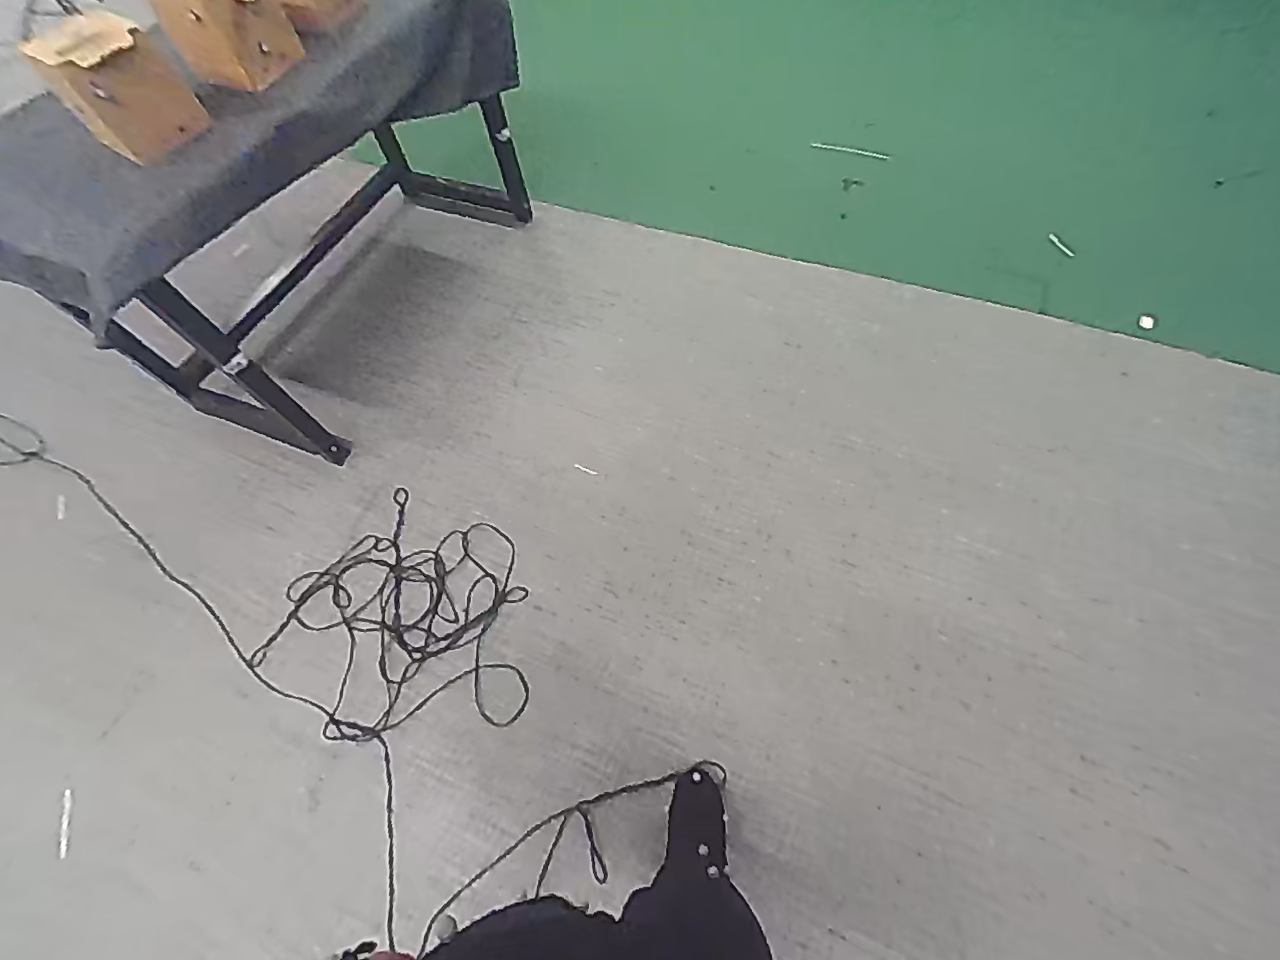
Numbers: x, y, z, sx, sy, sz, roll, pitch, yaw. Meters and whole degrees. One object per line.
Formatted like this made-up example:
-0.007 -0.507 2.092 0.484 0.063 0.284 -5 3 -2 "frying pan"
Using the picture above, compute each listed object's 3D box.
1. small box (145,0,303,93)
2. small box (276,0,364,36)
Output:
-0.872 -0.953 1.142 0.179 0.176 0.168 18 64 14 "small box"
-0.785 -1.164 1.250 0.179 0.176 0.168 15 63 14 "small box"
